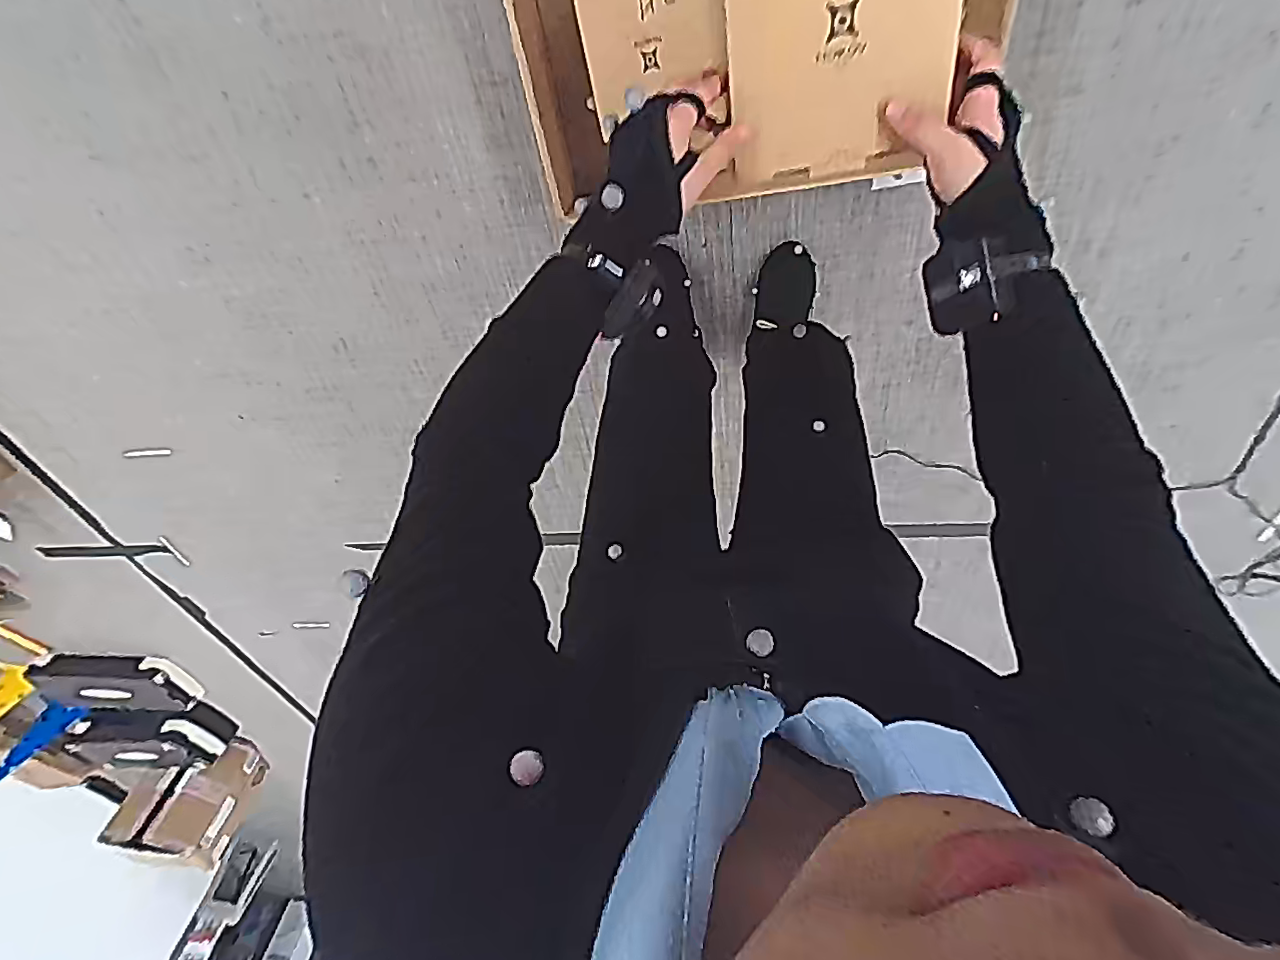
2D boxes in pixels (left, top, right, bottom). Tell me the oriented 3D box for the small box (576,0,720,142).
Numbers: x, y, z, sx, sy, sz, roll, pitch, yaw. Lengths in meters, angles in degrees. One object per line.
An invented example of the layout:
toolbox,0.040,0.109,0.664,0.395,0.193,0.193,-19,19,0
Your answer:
small box,0.020,-0.590,0.738,0.168,0.176,0.179,-6,129,10
